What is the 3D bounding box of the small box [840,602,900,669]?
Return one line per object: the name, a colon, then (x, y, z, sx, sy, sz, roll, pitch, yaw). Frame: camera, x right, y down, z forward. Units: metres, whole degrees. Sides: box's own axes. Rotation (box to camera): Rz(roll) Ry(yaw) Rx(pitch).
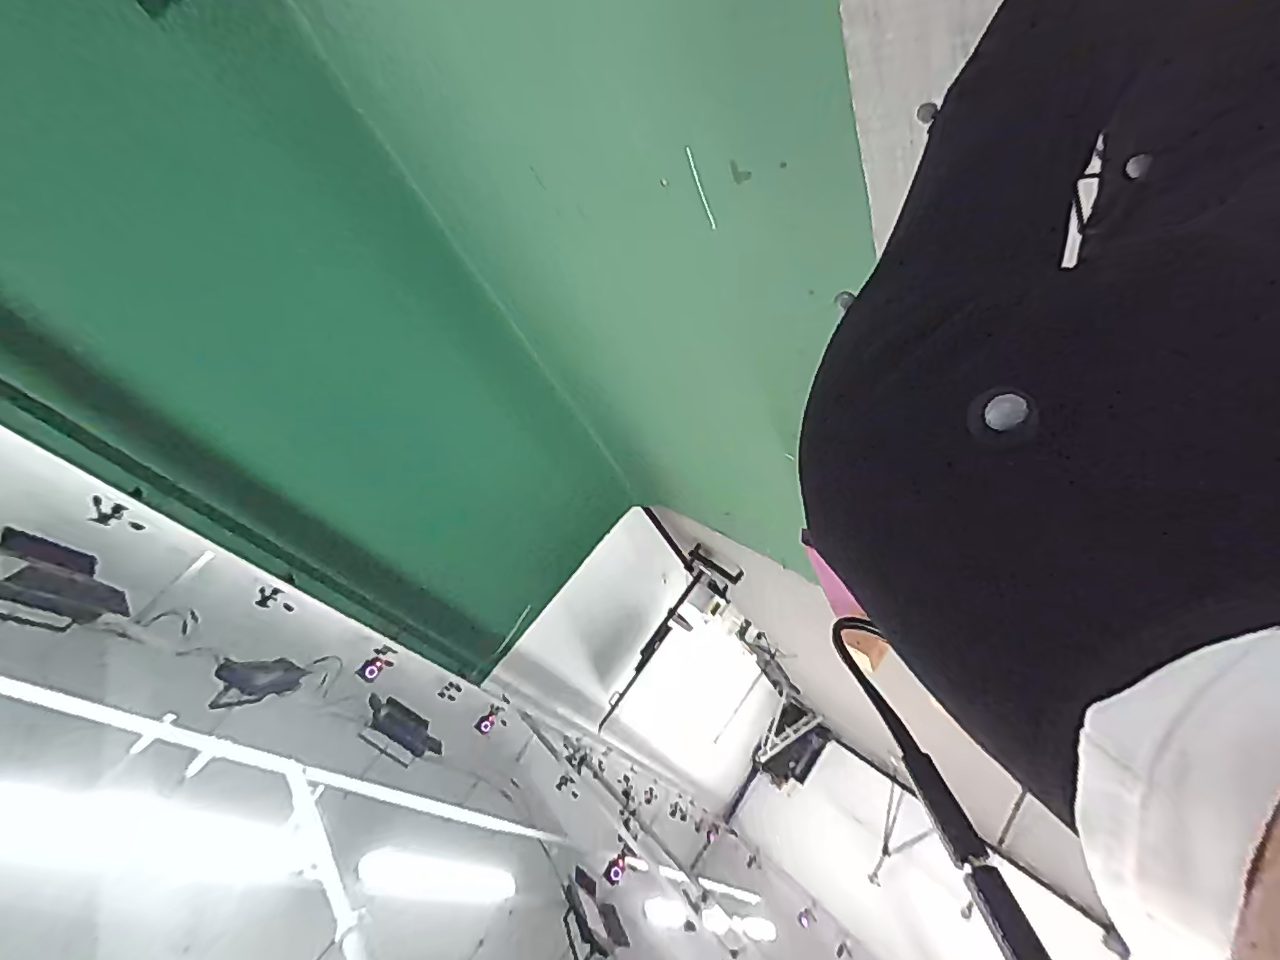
small box: (0.957, 0.641, 2.239, 0.168, 0.176, 0.179, 24, 158, 43)
